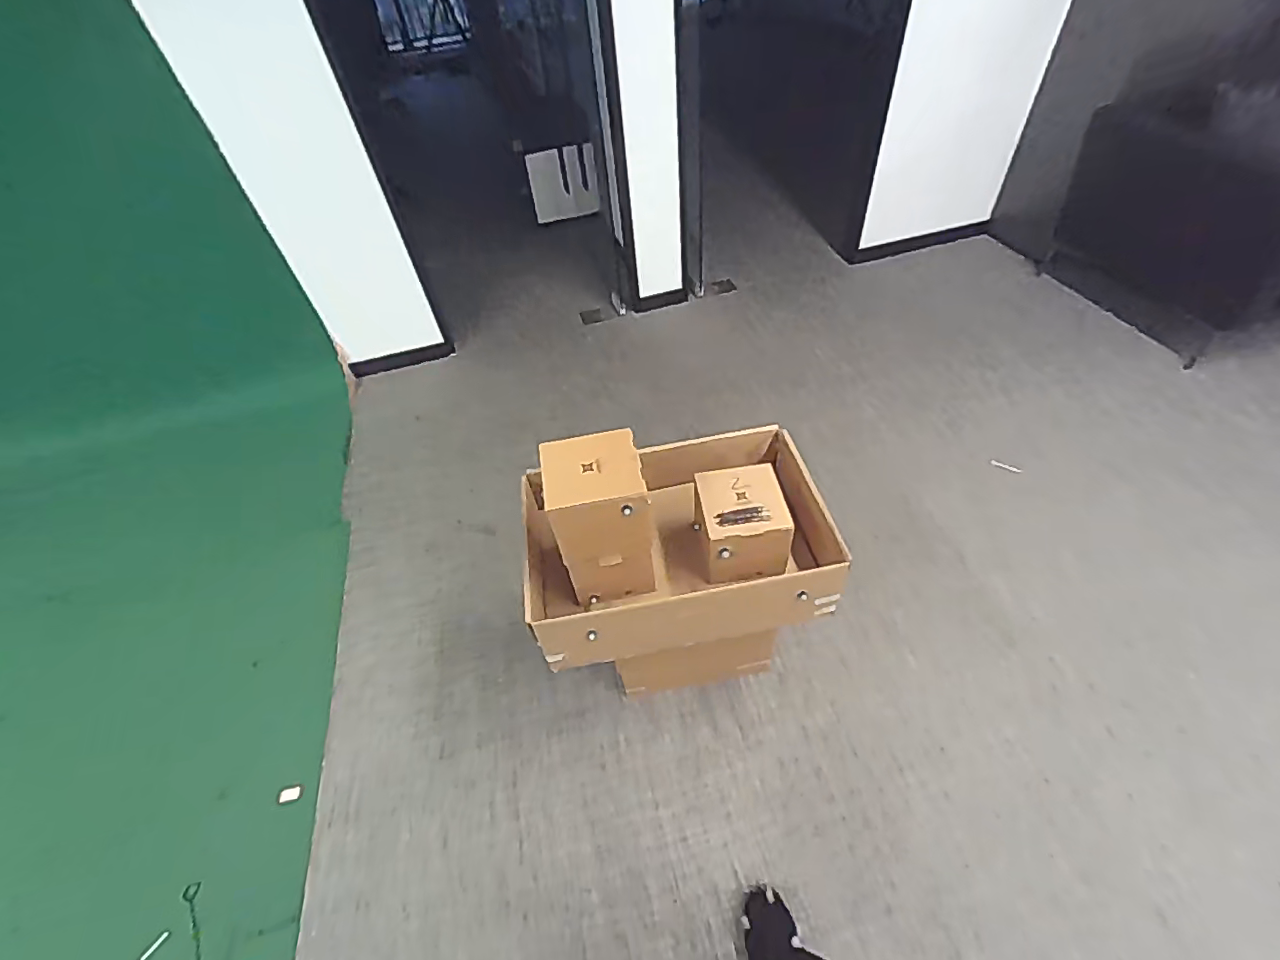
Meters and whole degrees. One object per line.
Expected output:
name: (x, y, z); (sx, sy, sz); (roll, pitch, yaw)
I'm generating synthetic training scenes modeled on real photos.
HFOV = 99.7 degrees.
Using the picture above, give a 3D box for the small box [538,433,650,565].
small box: (-0.084, 0.039, 1.010); (0.179, 0.176, 0.168); (-10, 48, -5)
